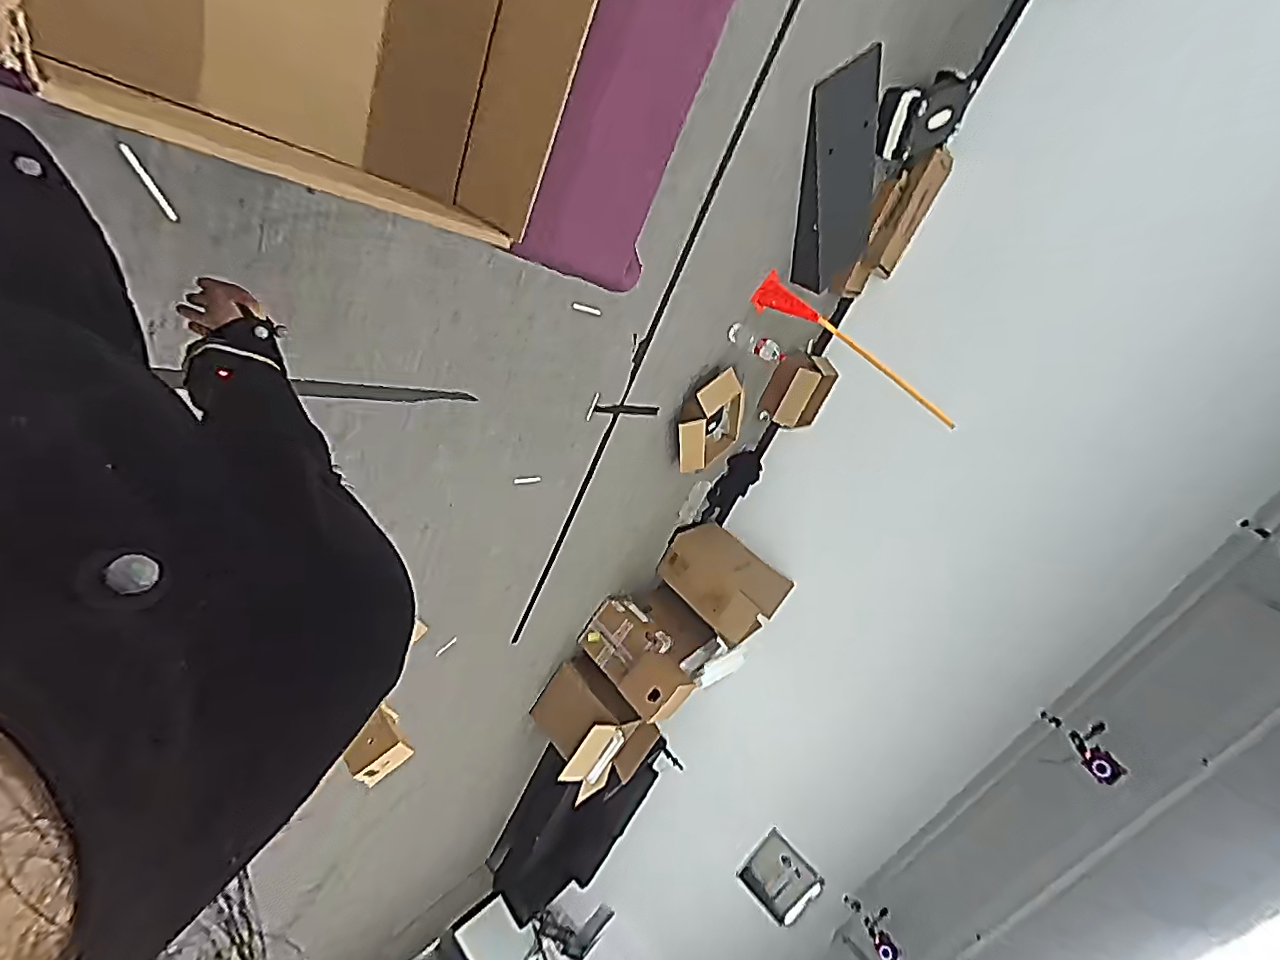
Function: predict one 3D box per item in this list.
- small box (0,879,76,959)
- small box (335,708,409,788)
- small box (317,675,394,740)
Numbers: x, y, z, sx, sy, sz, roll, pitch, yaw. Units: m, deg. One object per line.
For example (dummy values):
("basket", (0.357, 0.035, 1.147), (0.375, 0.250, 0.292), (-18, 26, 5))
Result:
("small box", (-1.565, 1.163, 1.366), (0.168, 0.176, 0.179), (-11, 133, -51))
("small box", (-0.982, 0.974, 1.972), (0.179, 0.176, 0.168), (-35, 150, -27))
("small box", (-1.085, 0.880, 2.062), (0.179, 0.176, 0.168), (-36, 150, -24))
